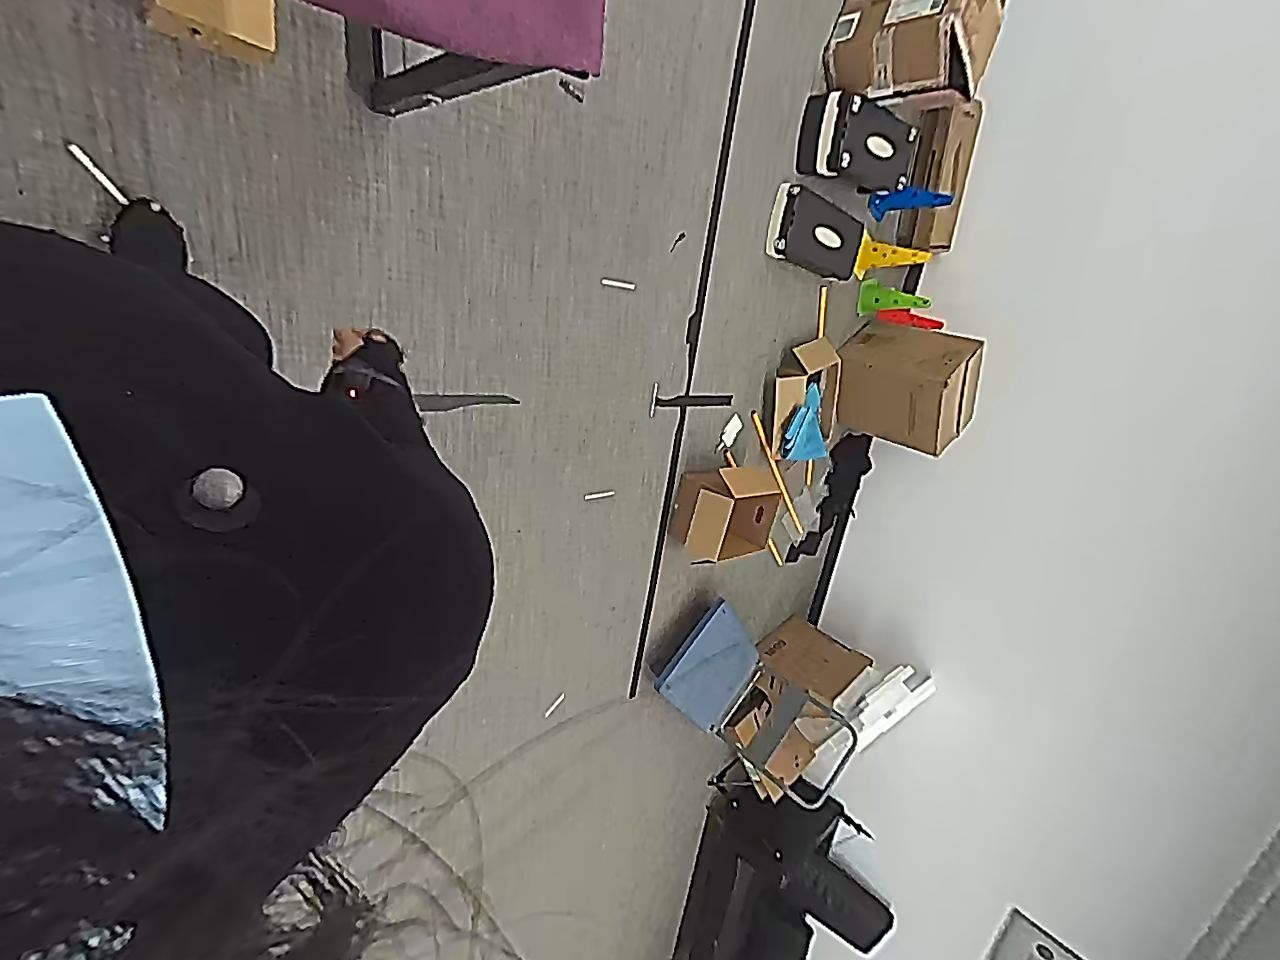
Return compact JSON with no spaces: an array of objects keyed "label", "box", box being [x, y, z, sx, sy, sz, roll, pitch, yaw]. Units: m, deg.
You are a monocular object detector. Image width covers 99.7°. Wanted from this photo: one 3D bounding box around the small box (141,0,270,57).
[{"label":"small box","box":[-0.759,-0.882,0.942,0.168,0.176,0.179,-6,113,-45]}]
